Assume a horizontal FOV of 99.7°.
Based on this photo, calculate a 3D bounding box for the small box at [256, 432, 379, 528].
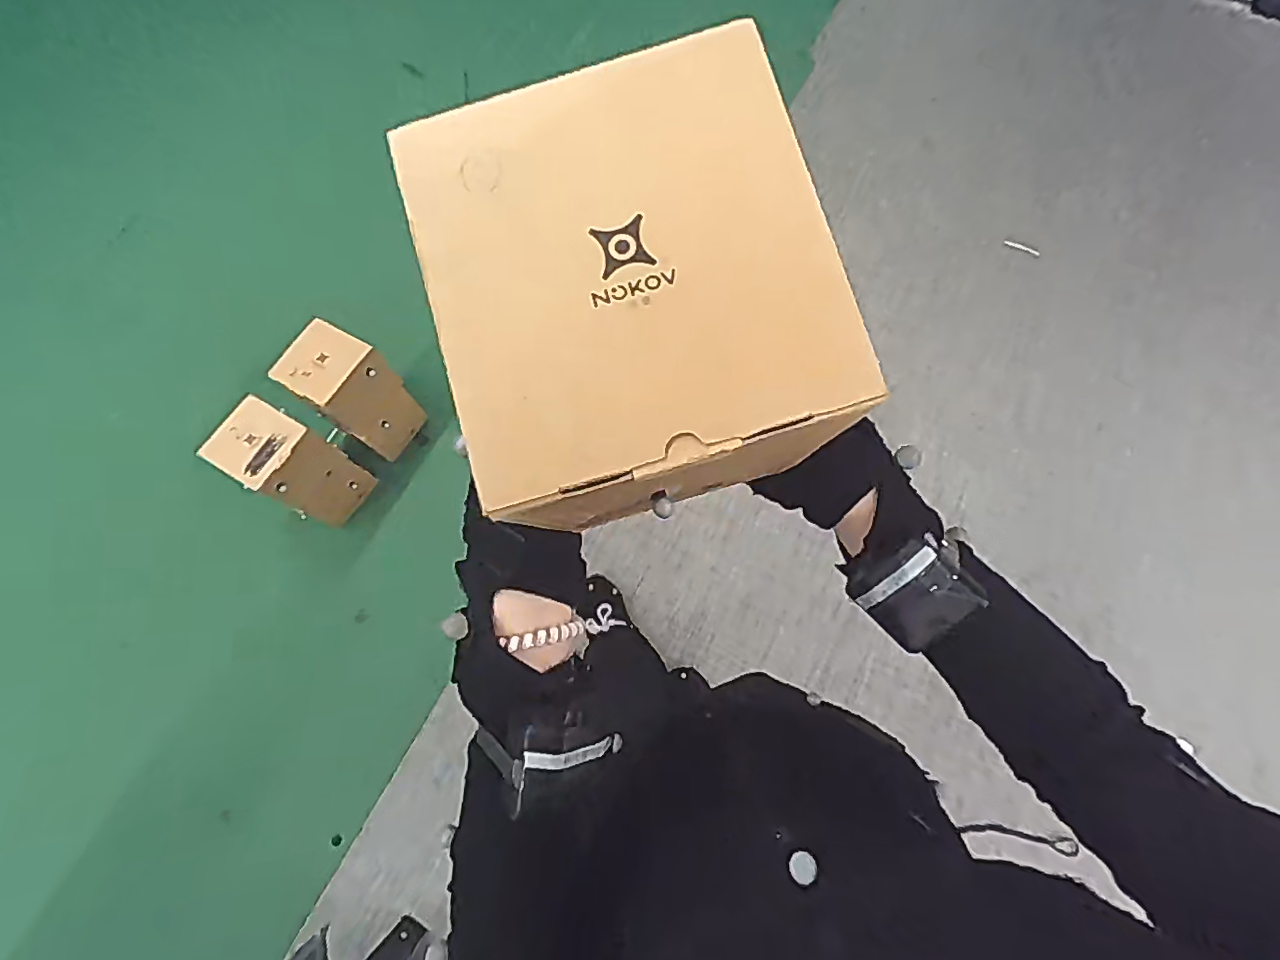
[{"bbox_3d":[-0.822,0.010,1.398,0.179,0.176,0.168,31,75,10],"label":"small box"}]

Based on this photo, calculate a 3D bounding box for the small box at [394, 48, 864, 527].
[{"bbox_3d":[-0.006,-0.079,0.310,0.168,0.176,0.179,-17,83,1],"label":"small box"}]
